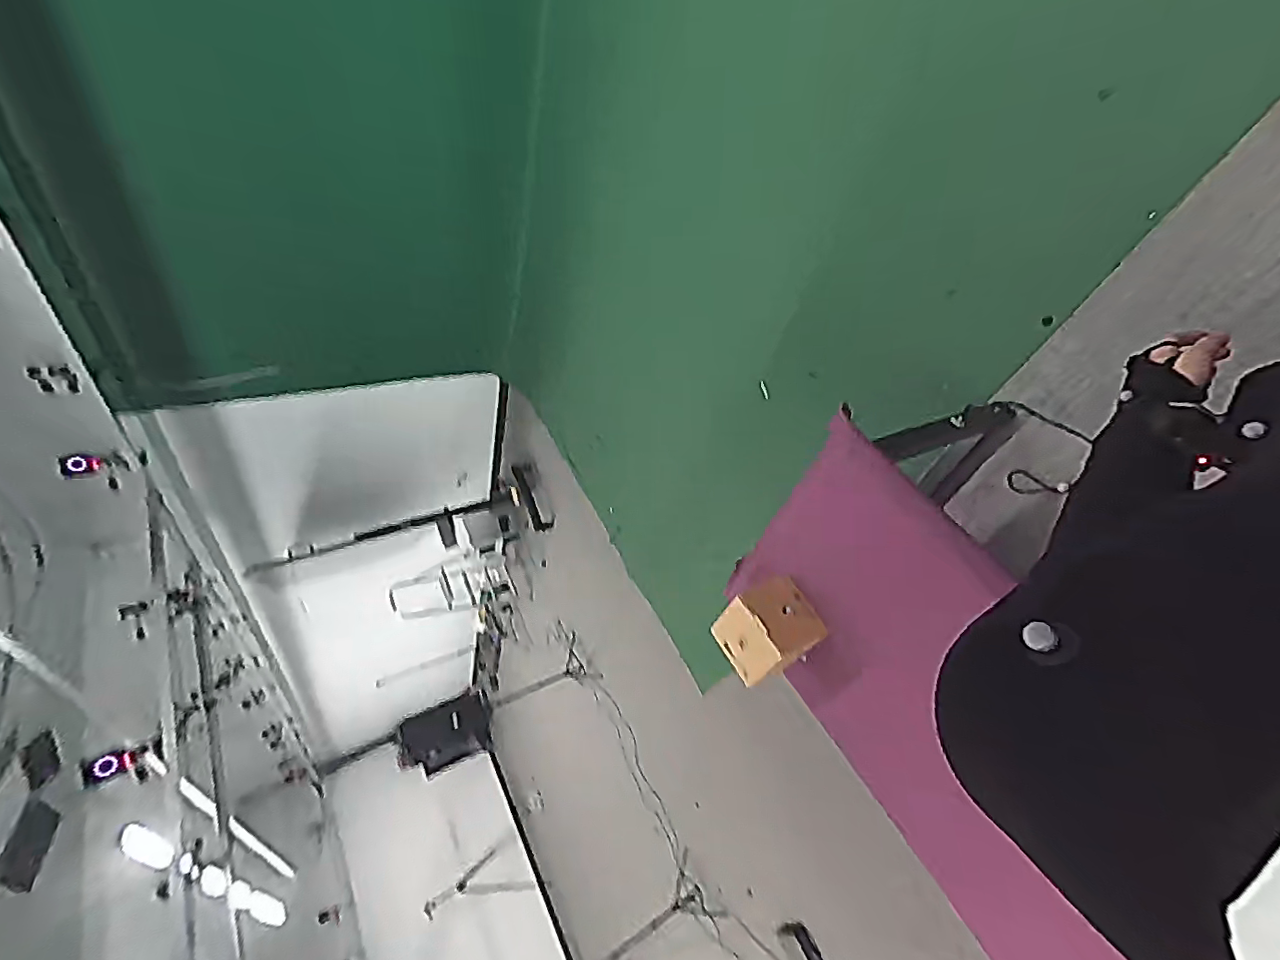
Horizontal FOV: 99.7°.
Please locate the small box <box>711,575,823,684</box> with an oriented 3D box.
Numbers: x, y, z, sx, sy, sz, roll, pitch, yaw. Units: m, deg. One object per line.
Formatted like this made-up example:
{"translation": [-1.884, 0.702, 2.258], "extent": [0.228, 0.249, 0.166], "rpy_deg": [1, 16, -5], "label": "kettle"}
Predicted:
{"translation": [0.310, 0.355, 1.306], "extent": [0.168, 0.176, 0.179], "rpy_deg": [55, 141, 29], "label": "small box"}
